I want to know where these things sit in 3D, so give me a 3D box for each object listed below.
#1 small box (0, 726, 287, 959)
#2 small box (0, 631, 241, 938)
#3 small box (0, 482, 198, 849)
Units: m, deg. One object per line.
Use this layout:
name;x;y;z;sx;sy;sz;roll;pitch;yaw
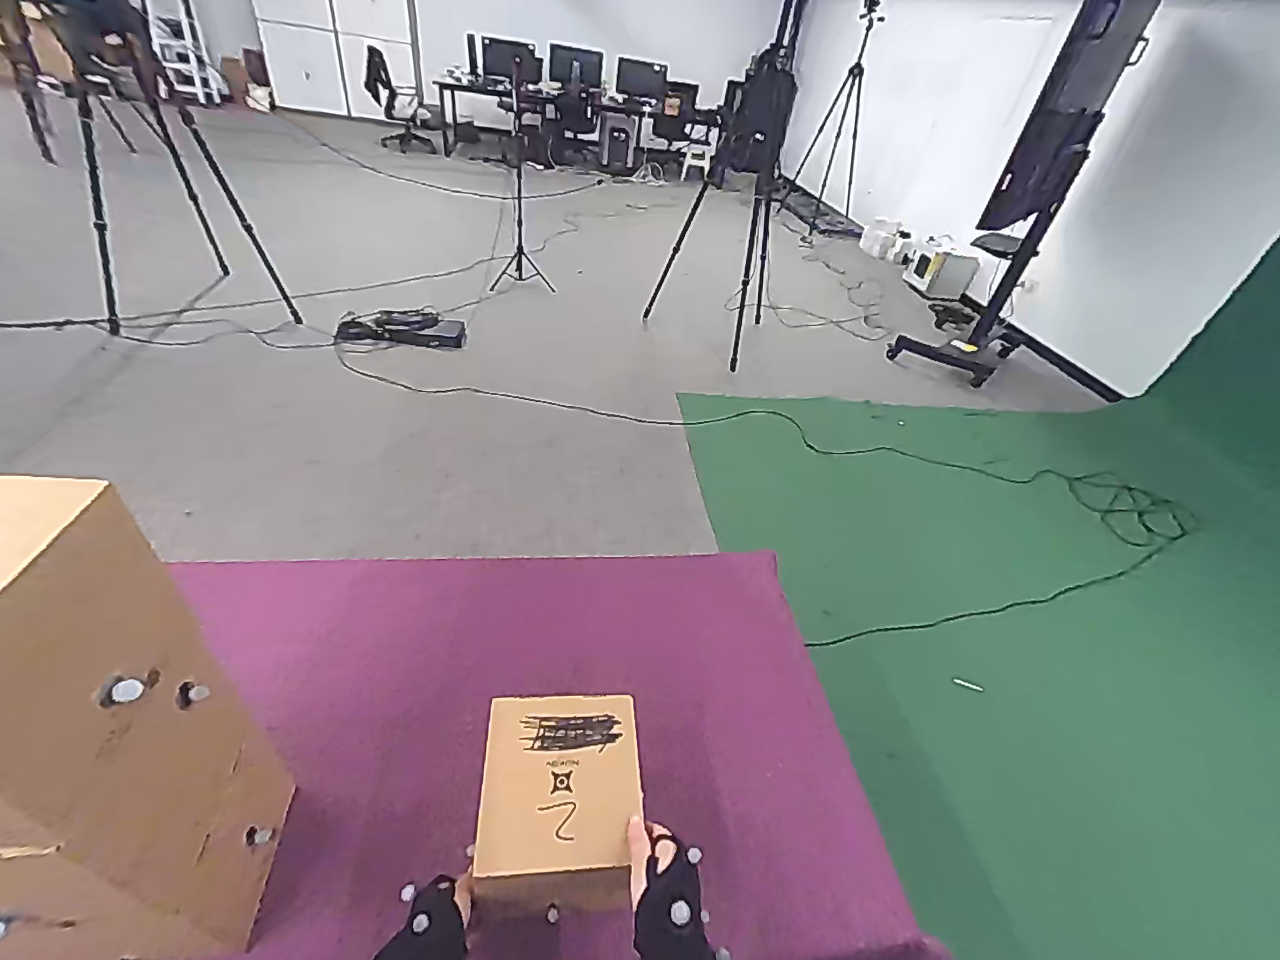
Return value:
small box;-0.490;0.372;0.544;0.179;0.176;0.168;0;40;-13
small box;-0.468;0.242;0.444;0.168;0.176;0.179;1;40;-11
small box;-0.440;0.116;0.341;0.179;0.176;0.168;3;40;-10
